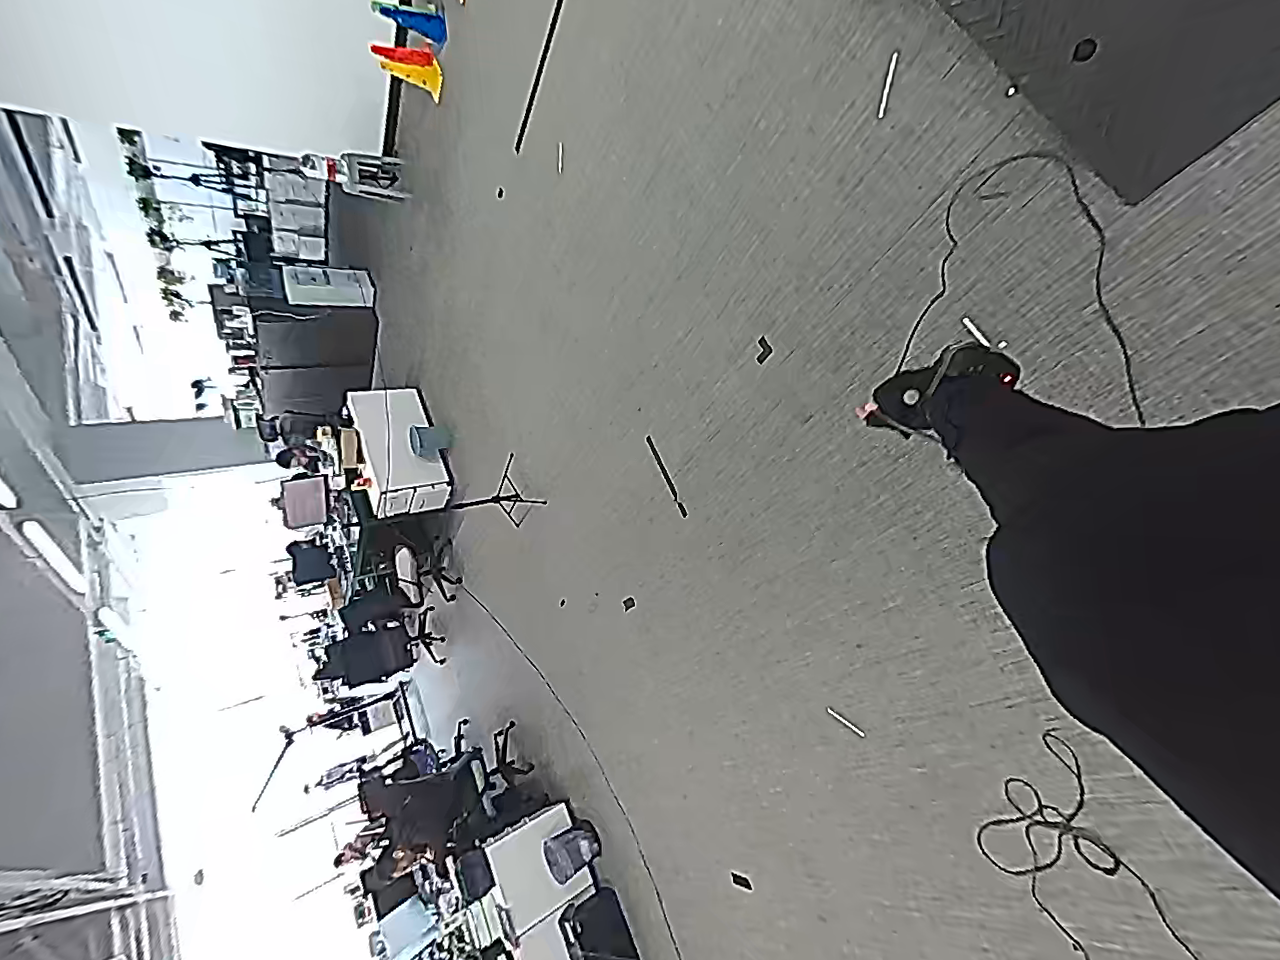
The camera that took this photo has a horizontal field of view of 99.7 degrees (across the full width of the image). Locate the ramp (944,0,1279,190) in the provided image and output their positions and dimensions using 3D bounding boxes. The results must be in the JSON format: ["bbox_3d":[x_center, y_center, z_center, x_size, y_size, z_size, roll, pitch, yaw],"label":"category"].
[{"bbox_3d":[0.807,-1.080,0.962,0.509,0.206,0.991,-47,63,47],"label":"ramp"}]
